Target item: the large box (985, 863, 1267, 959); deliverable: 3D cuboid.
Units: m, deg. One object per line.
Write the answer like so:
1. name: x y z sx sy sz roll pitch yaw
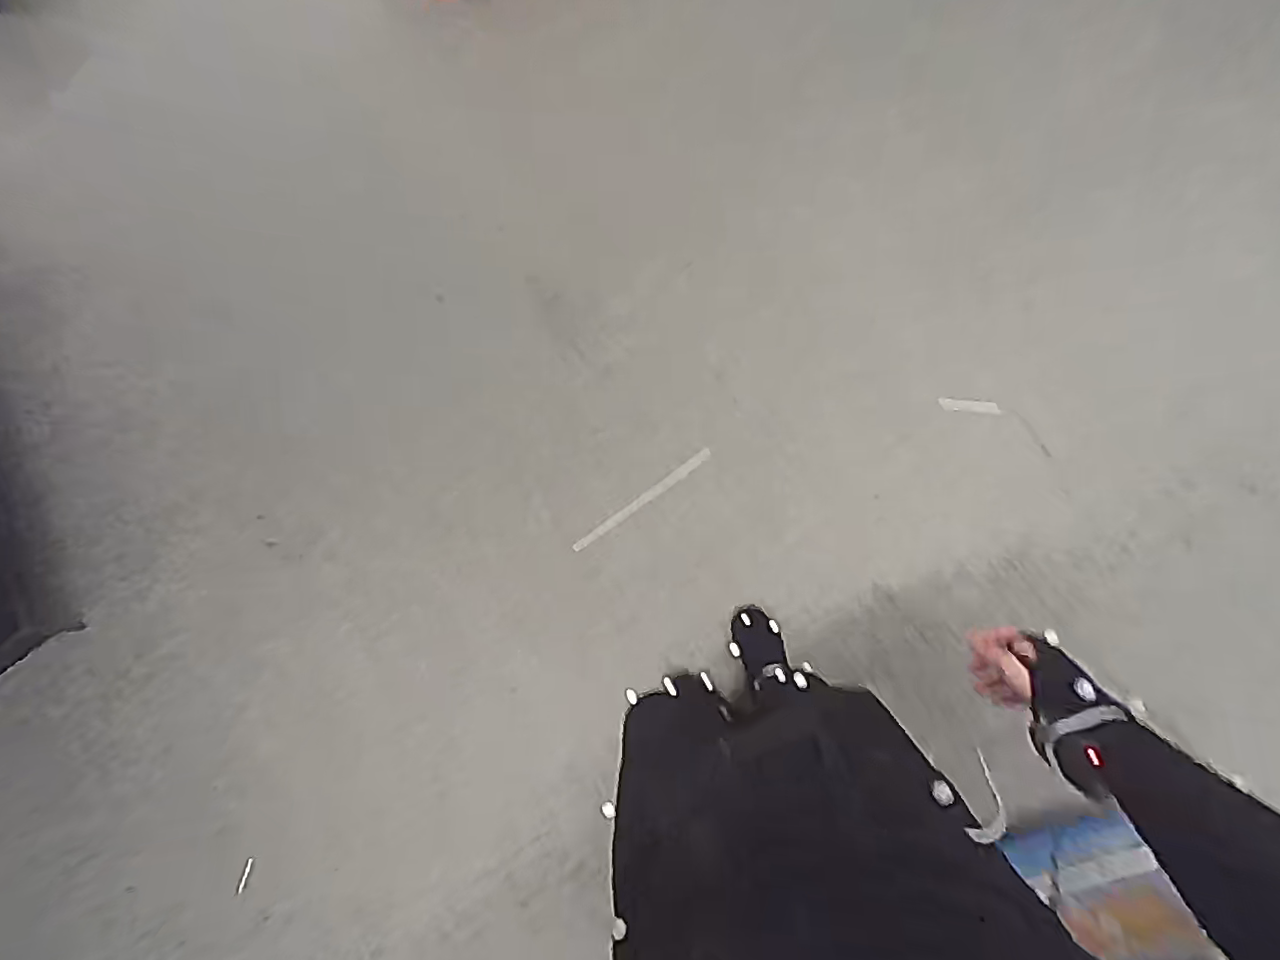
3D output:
1. large box: 0.872 0.958 0.889 0.320 0.320 0.408 -21 77 6
